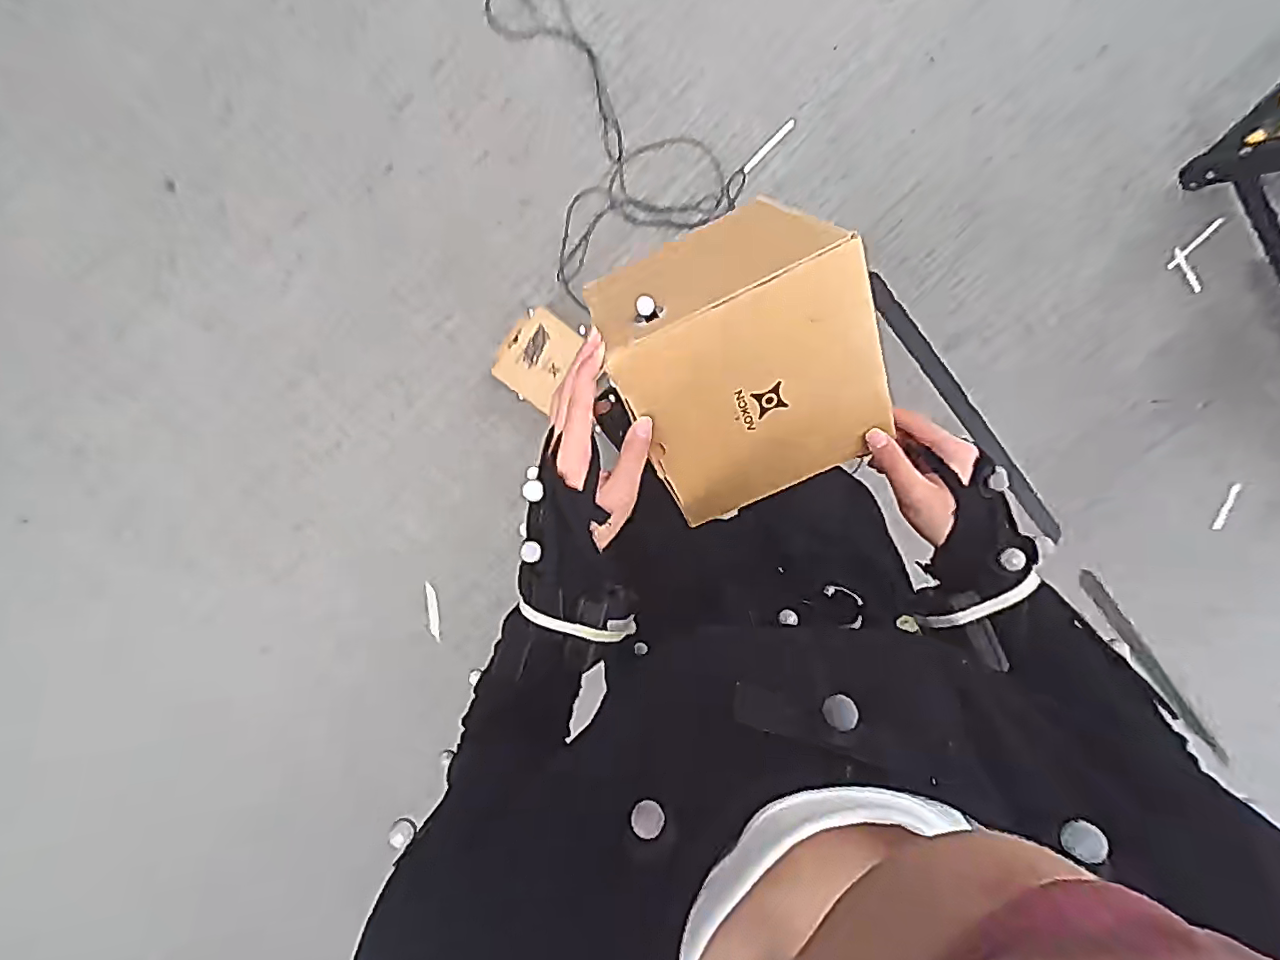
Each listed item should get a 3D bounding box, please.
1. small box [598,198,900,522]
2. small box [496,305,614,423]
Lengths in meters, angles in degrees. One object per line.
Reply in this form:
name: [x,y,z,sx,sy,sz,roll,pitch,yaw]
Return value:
small box: [0.079,-0.103,0.442,0.179,0.176,0.168,-24,126,8]
small box: [-0.176,-0.248,1.145,0.179,0.176,0.168,36,101,-15]
